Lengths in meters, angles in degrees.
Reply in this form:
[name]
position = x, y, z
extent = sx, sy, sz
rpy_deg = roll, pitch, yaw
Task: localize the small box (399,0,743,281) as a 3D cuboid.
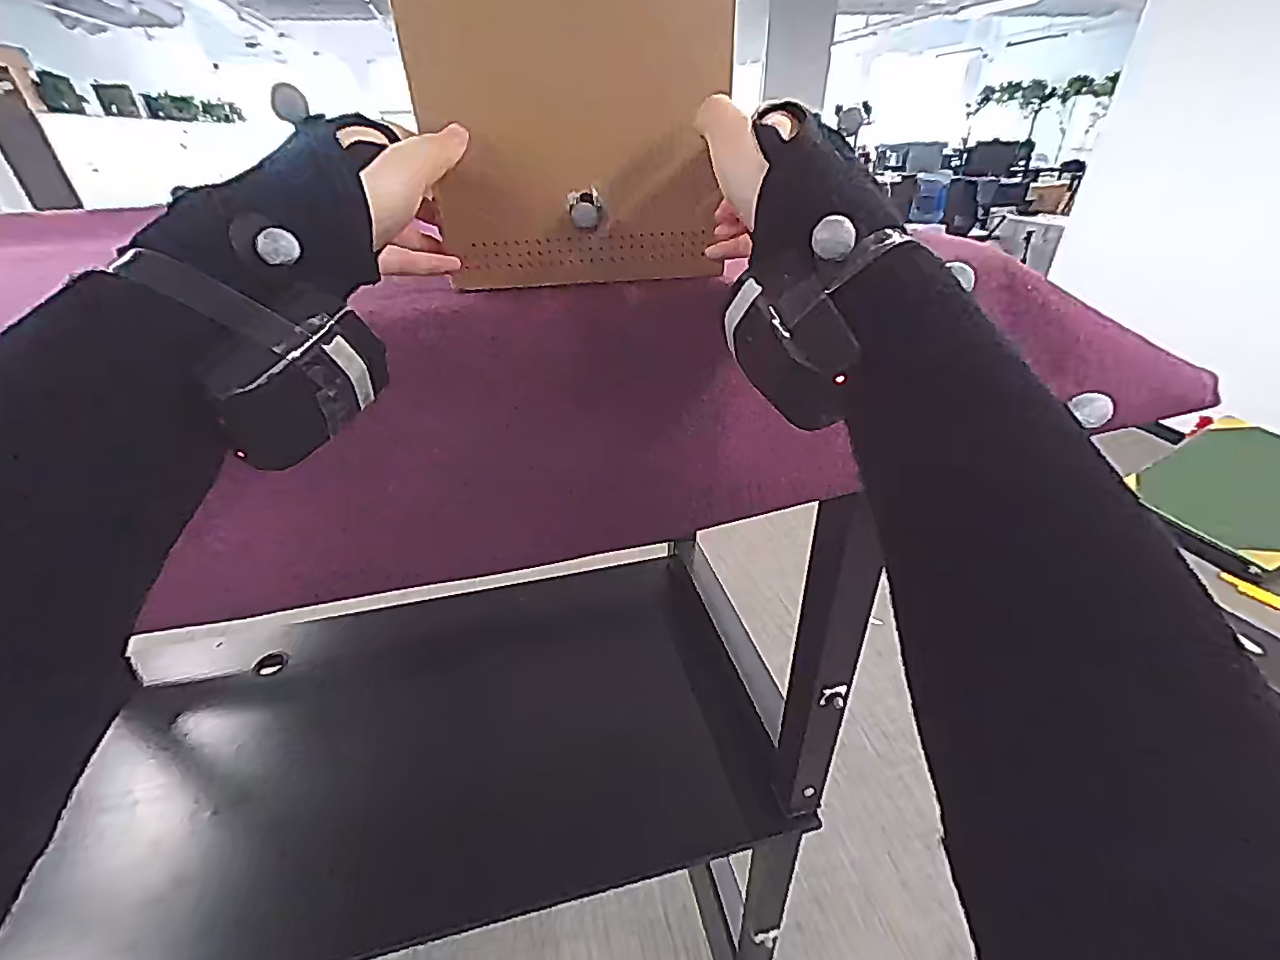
[small box]
position = -0.040, -0.239, 0.365
extent = 0.179, 0.176, 0.168
rpy_deg = -5, 31, -5
